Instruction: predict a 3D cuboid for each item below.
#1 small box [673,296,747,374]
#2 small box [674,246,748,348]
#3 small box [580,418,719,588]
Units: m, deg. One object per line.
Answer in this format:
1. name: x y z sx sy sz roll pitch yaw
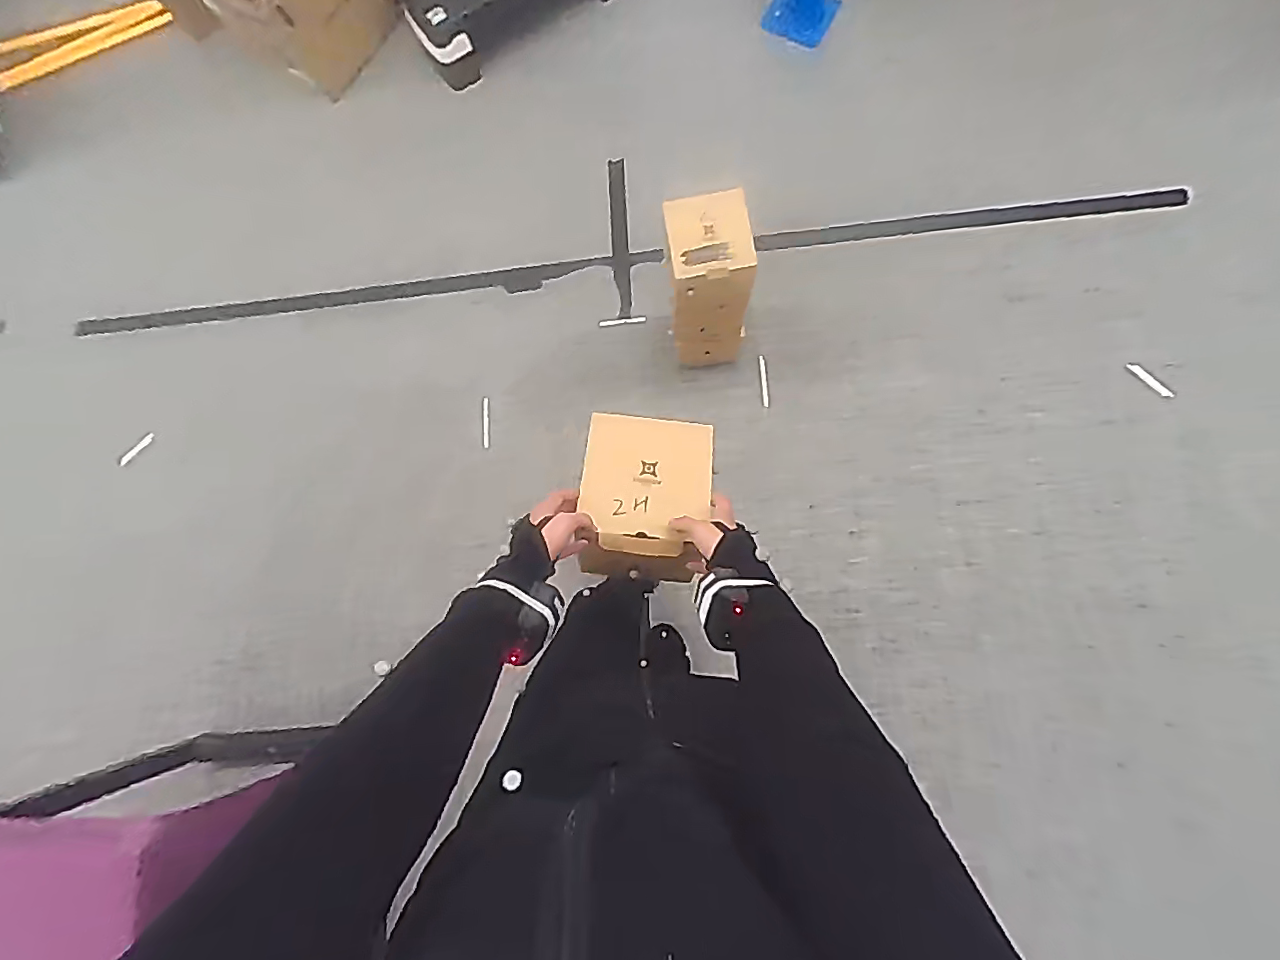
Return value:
1. small box: 0.185 -0.402 1.474 0.179 0.176 0.168 -7 80 4
2. small box: 0.167 -0.440 1.316 0.168 0.176 0.179 -3 81 4
3. small box: 0.012 0.038 0.762 0.168 0.176 0.179 7 64 1
